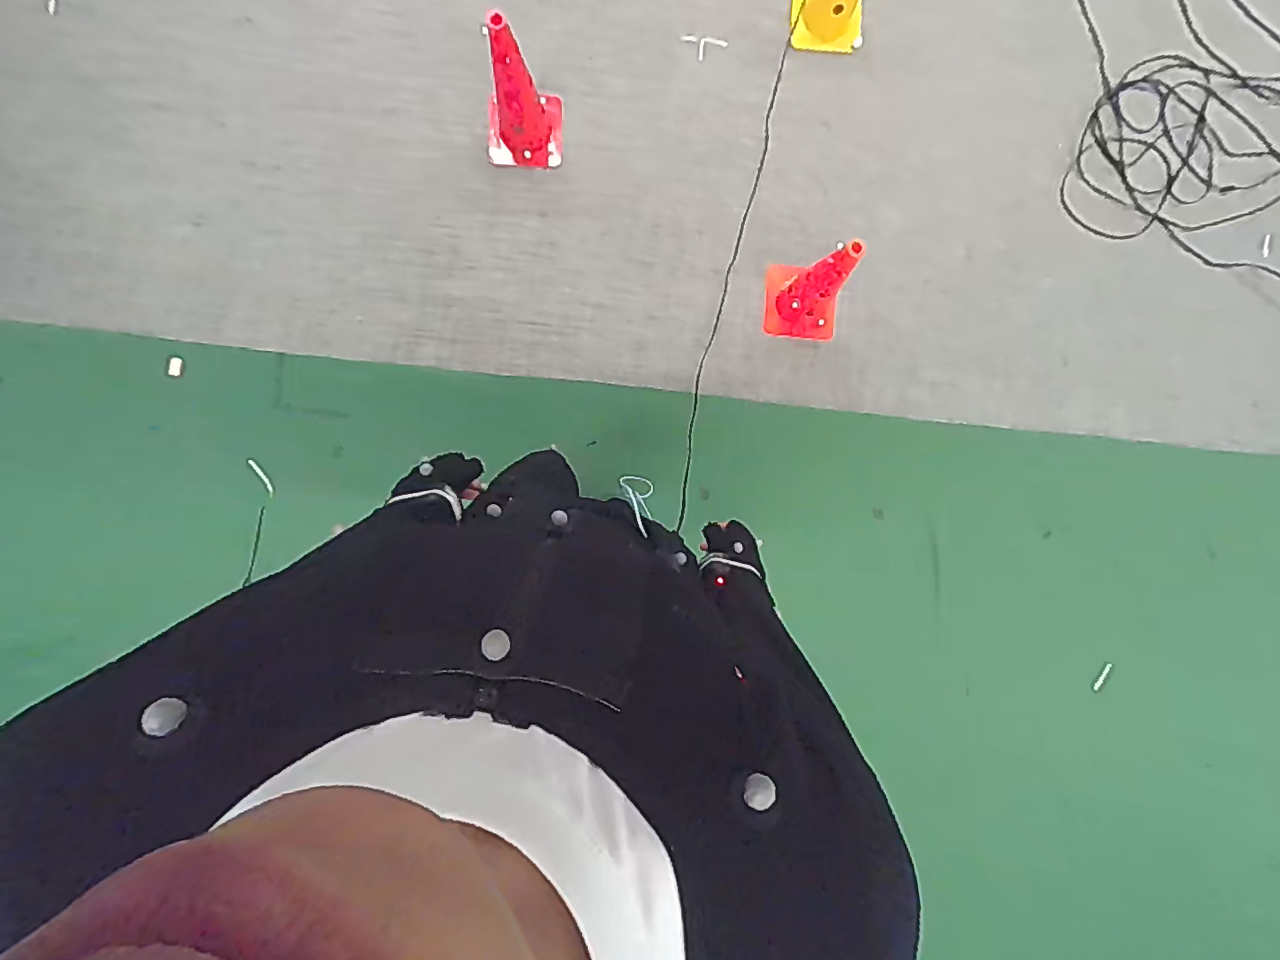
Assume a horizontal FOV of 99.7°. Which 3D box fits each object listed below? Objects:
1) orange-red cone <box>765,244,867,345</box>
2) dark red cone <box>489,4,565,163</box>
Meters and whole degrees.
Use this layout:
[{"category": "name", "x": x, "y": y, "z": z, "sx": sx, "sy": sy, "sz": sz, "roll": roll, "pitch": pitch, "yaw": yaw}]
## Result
[{"category": "orange-red cone", "x": 0.462, "y": -0.491, "z": 1.342, "sx": 0.198, "sy": 0.360, "sz": 0.199, "roll": 6, "pitch": 88, "yaw": -3}, {"category": "dark red cone", "x": -0.299, "y": -0.956, "z": 1.296, "sx": 0.202, "sy": 0.394, "sz": 0.201, "roll": 0, "pitch": 90, "yaw": -2}]
